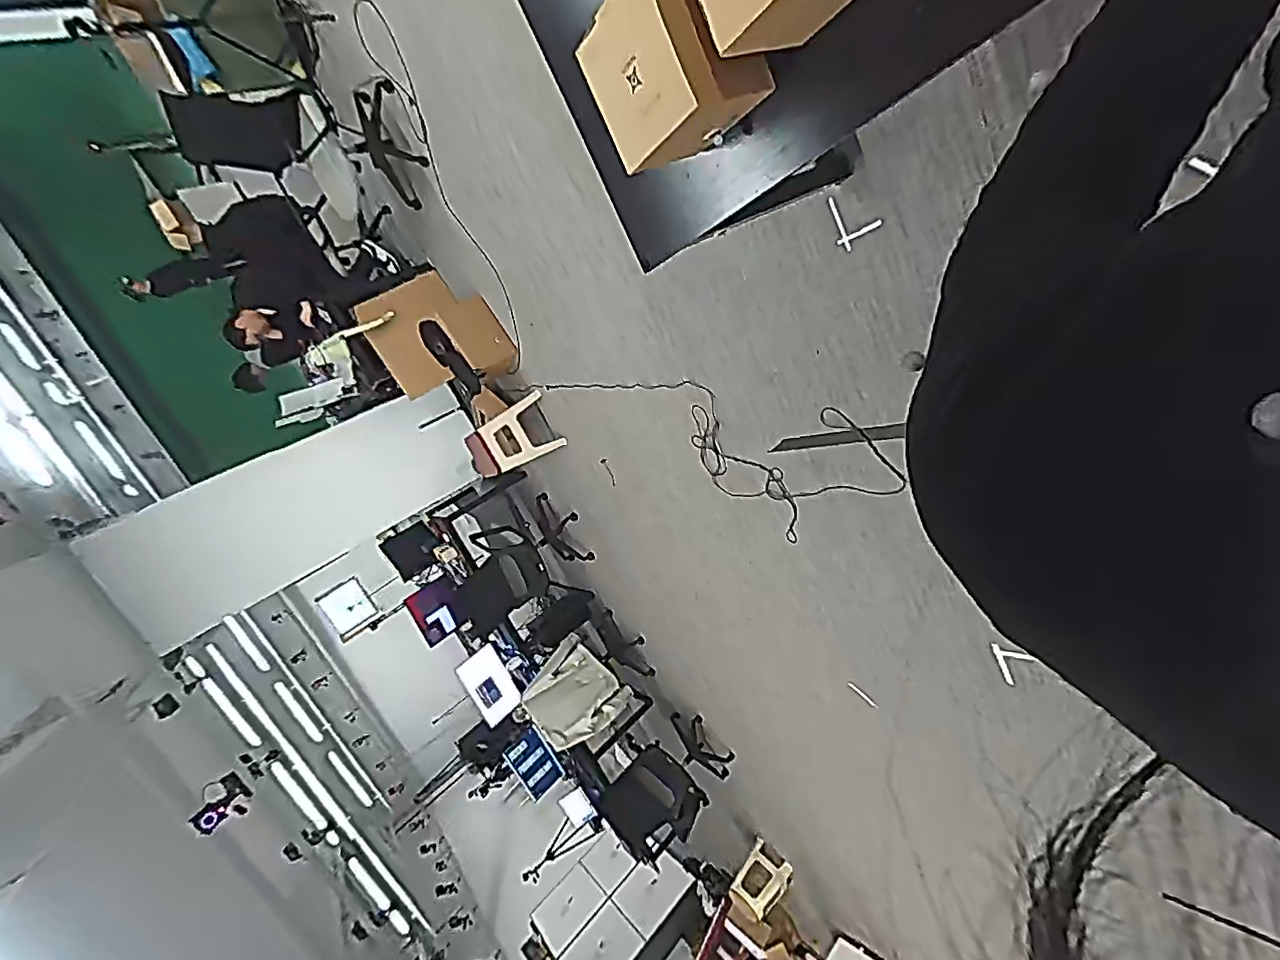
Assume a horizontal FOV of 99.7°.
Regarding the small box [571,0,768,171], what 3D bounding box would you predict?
[{"bbox_3d":[0.042,-0.569,0.743,0.168,0.176,0.179,-5,116,58],"label":"small box"}]
